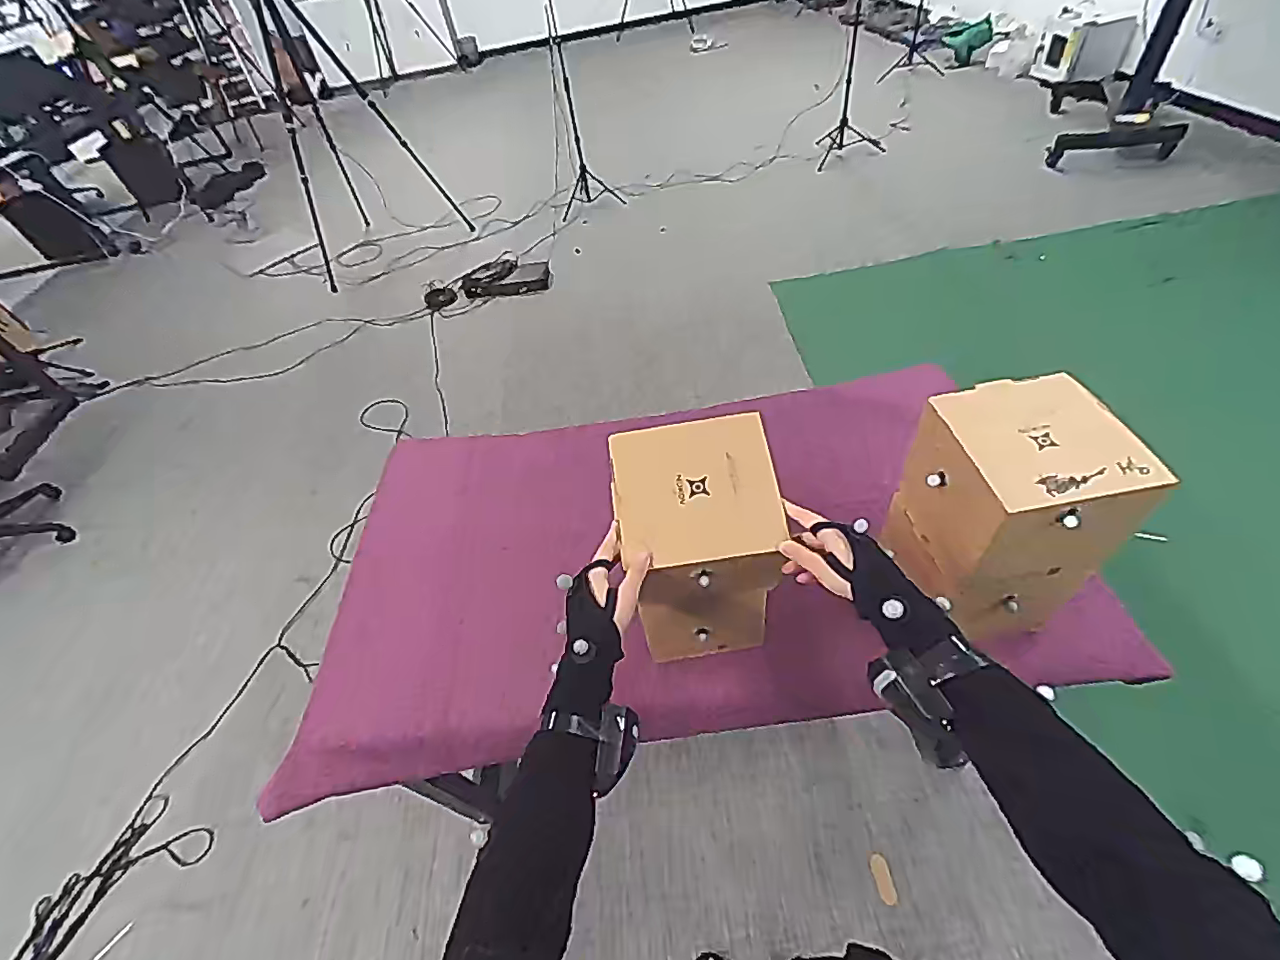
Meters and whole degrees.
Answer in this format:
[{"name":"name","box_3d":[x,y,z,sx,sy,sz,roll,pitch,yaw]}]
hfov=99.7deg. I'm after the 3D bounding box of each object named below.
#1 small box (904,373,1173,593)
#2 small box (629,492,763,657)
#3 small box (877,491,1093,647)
[{"name":"small box","box_3d":[0.435,0.006,0.636,0.168,0.176,0.179,-12,48,4]},{"name":"small box","box_3d":[0.084,0.148,0.805,0.168,0.176,0.179,-10,47,3]},{"name":"small box","box_3d":[0.459,0.113,0.757,0.179,0.176,0.168,-12,49,3]}]
